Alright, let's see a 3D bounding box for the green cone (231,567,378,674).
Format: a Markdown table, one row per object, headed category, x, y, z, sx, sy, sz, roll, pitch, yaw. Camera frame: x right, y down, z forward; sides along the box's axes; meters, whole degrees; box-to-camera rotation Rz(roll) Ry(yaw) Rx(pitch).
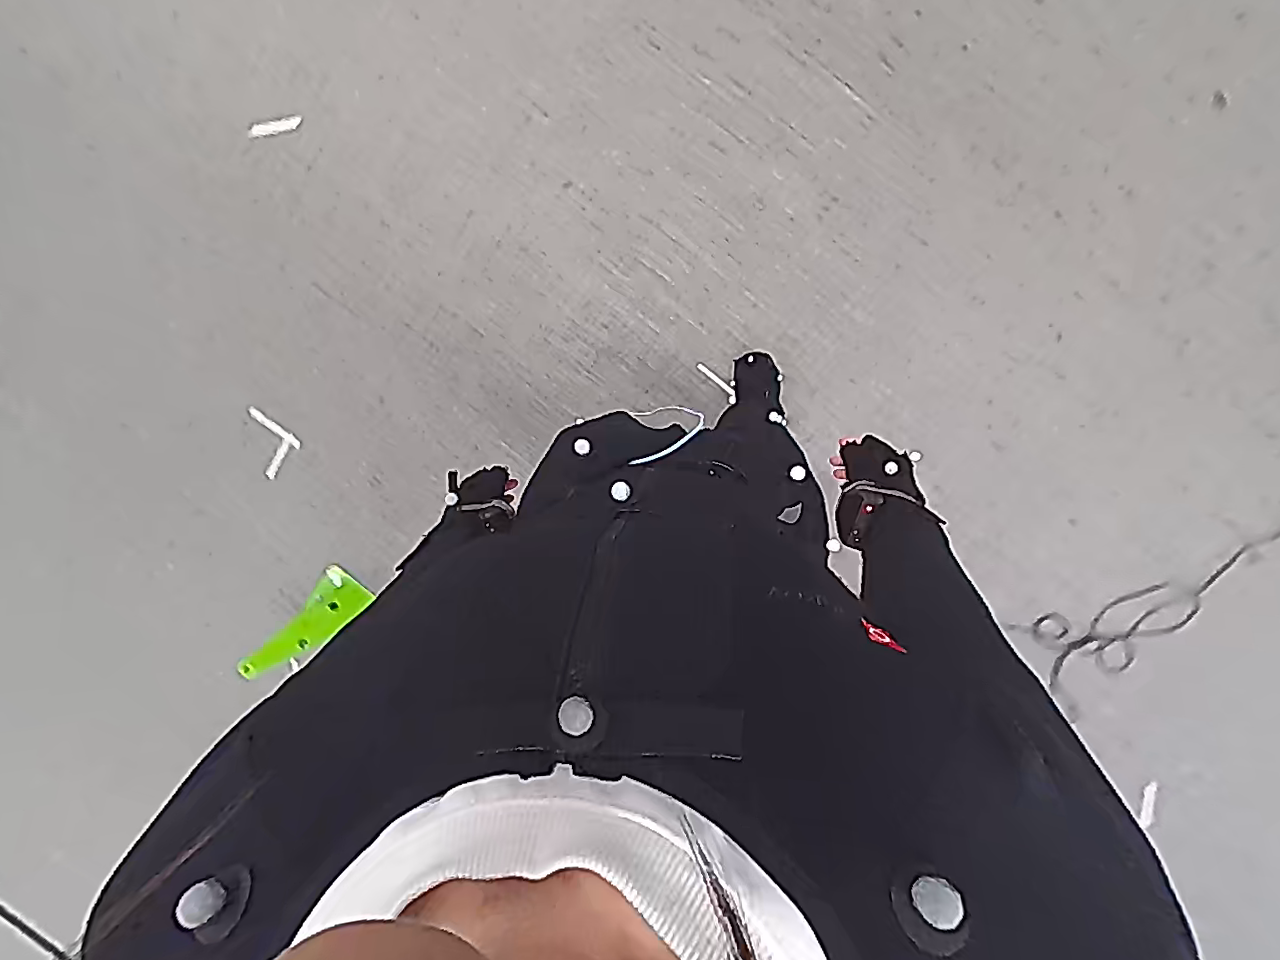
| category | x | y | z | sx | sy | sz | roll | pitch | yaw |
| --- | --- | --- | --- | --- | --- | --- | --- | --- | --- |
| green cone | -0.932 | 0.416 | 1.468 | 0.202 | 0.368 | 0.200 | 40 | 104 | 0 |
